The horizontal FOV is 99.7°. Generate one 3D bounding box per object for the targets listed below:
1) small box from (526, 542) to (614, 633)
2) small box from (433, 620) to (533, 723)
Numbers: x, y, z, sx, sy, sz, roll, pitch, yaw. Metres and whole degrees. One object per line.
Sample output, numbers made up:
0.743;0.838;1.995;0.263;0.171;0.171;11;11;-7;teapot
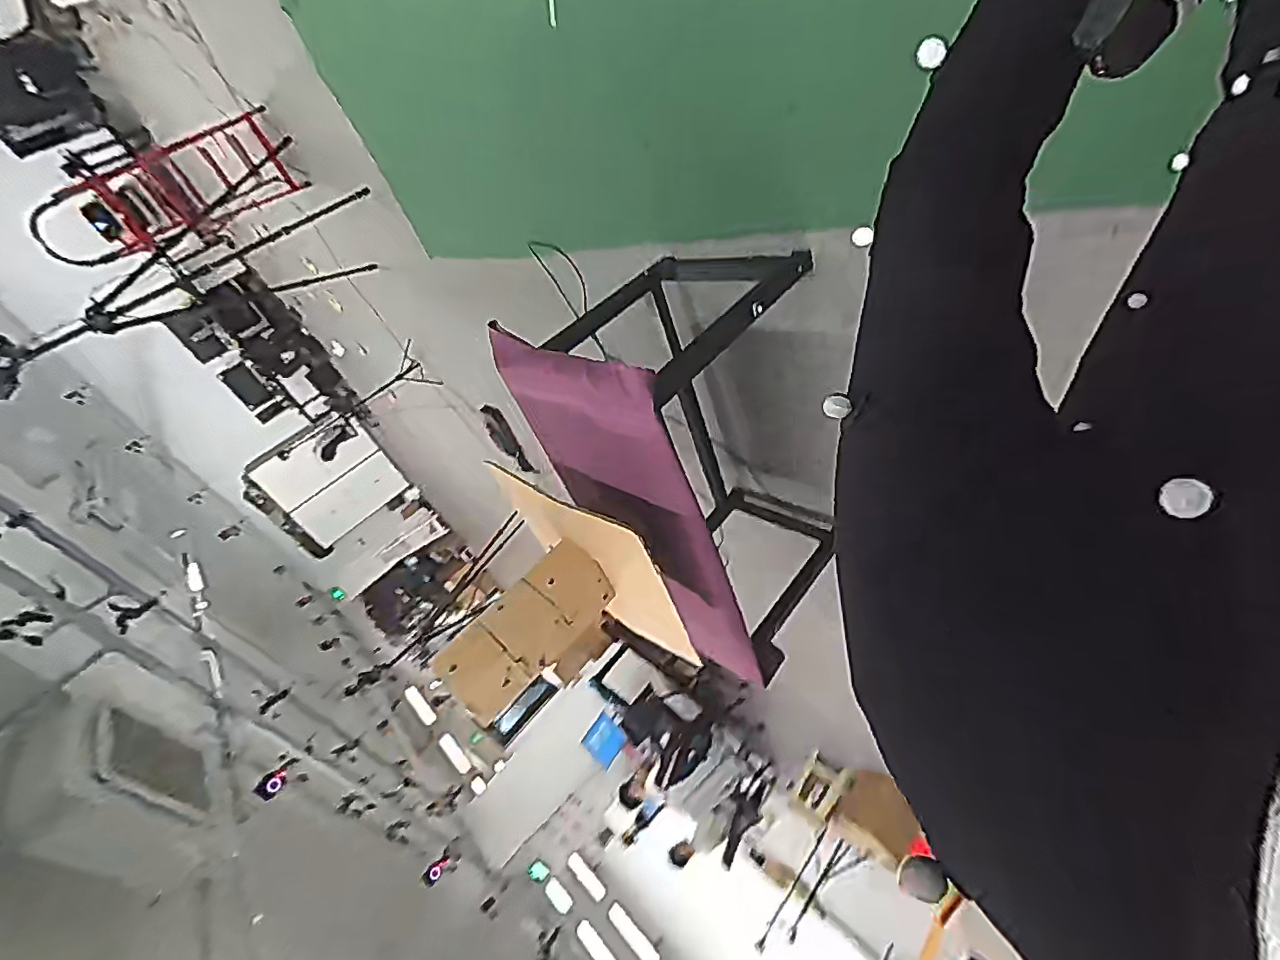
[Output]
-0.197;0.311;1.603;0.179;0.176;0.168;25;149;43;small box
-0.423;0.513;1.478;0.179;0.176;0.168;24;148;44;small box
